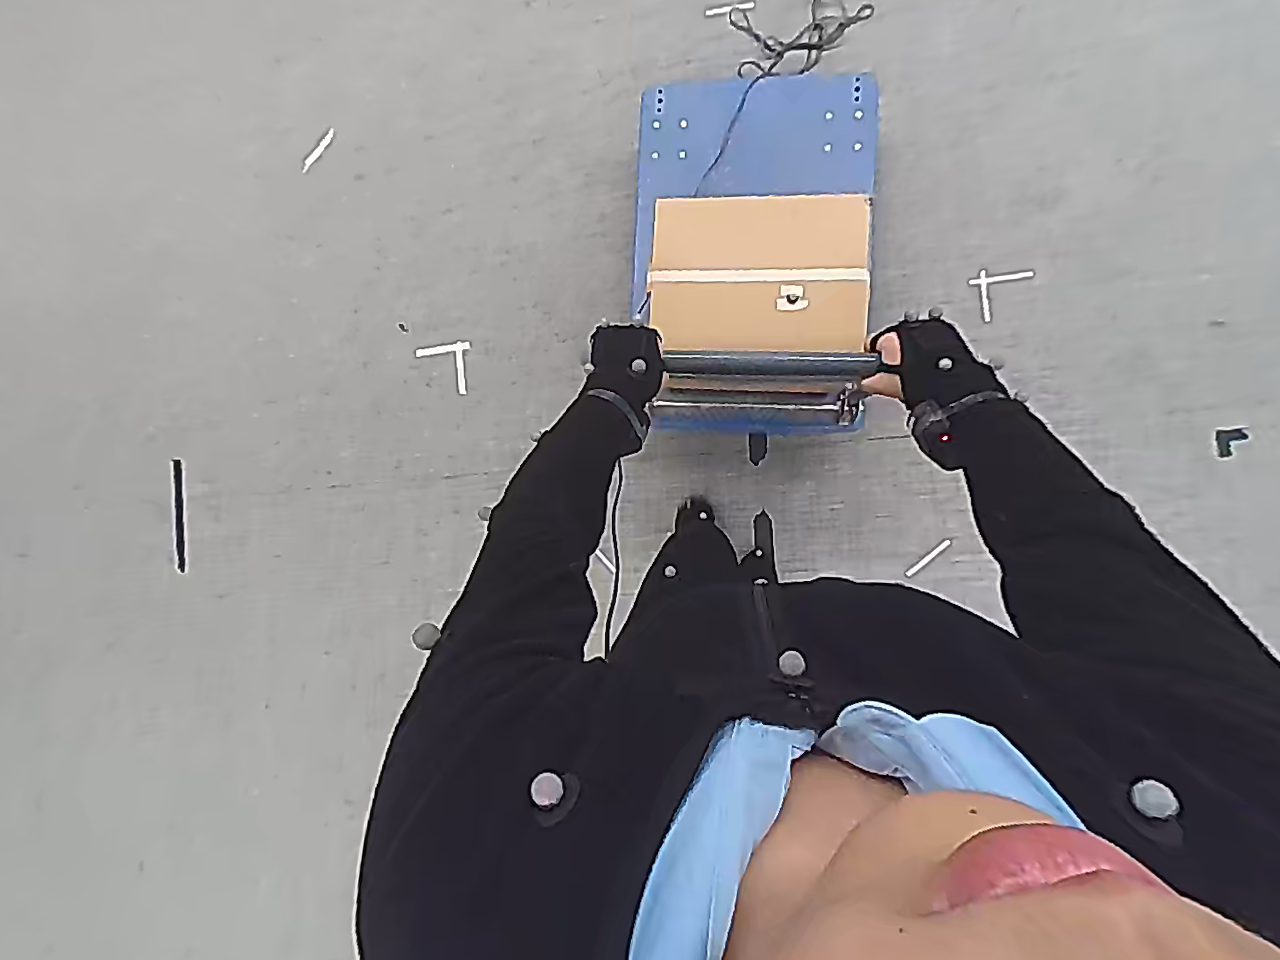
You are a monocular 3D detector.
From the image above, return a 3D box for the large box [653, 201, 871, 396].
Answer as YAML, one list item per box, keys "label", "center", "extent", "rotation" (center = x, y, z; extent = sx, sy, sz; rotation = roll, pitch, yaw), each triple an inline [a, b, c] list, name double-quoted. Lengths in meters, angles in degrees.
- label: "large box"
  center: [0.242, -0.362, 1.163]
  extent: [0.408, 0.320, 0.320]
  rotation: [2, 88, 7]
